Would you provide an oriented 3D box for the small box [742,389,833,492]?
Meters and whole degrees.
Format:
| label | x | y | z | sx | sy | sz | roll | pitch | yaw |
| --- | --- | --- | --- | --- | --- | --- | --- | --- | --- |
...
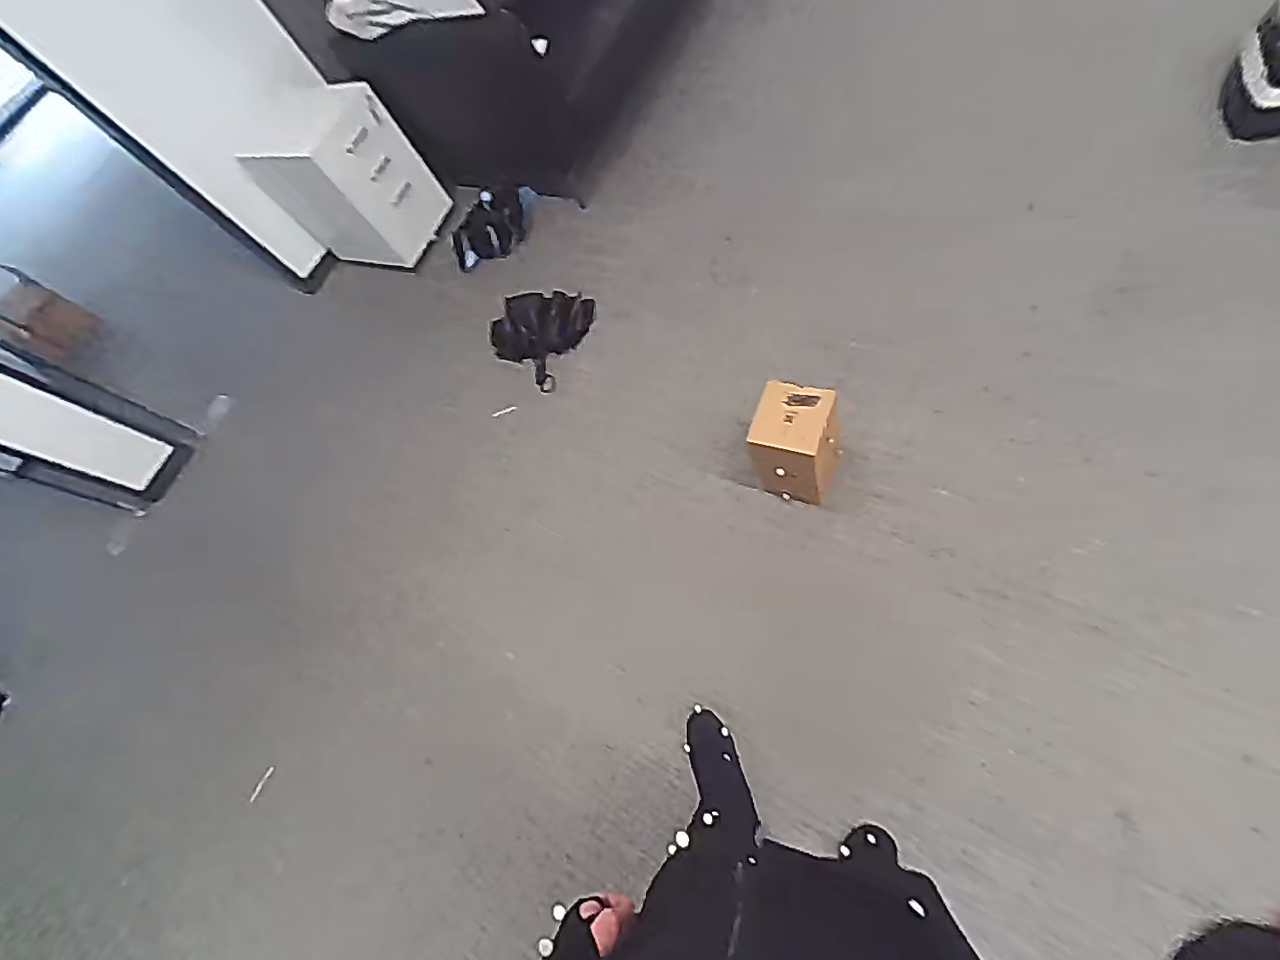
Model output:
| label | x | y | z | sx | sy | sz | roll | pitch | yaw |
| --- | --- | --- | --- | --- | --- | --- | --- | --- | --- |
| small box | 0.367 | -0.096 | 1.333 | 0.168 | 0.176 | 0.179 | 16 | 73 | 26 |

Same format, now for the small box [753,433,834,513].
| label | x | y | z | sx | sy | sz | roll | pitch | yaw |
| --- | --- | --- | --- | --- | --- | --- | --- | --- | --- |
| small box | 0.422 | -0.034 | 1.476 | 0.168 | 0.176 | 0.179 | 16 | 74 | 26 |
